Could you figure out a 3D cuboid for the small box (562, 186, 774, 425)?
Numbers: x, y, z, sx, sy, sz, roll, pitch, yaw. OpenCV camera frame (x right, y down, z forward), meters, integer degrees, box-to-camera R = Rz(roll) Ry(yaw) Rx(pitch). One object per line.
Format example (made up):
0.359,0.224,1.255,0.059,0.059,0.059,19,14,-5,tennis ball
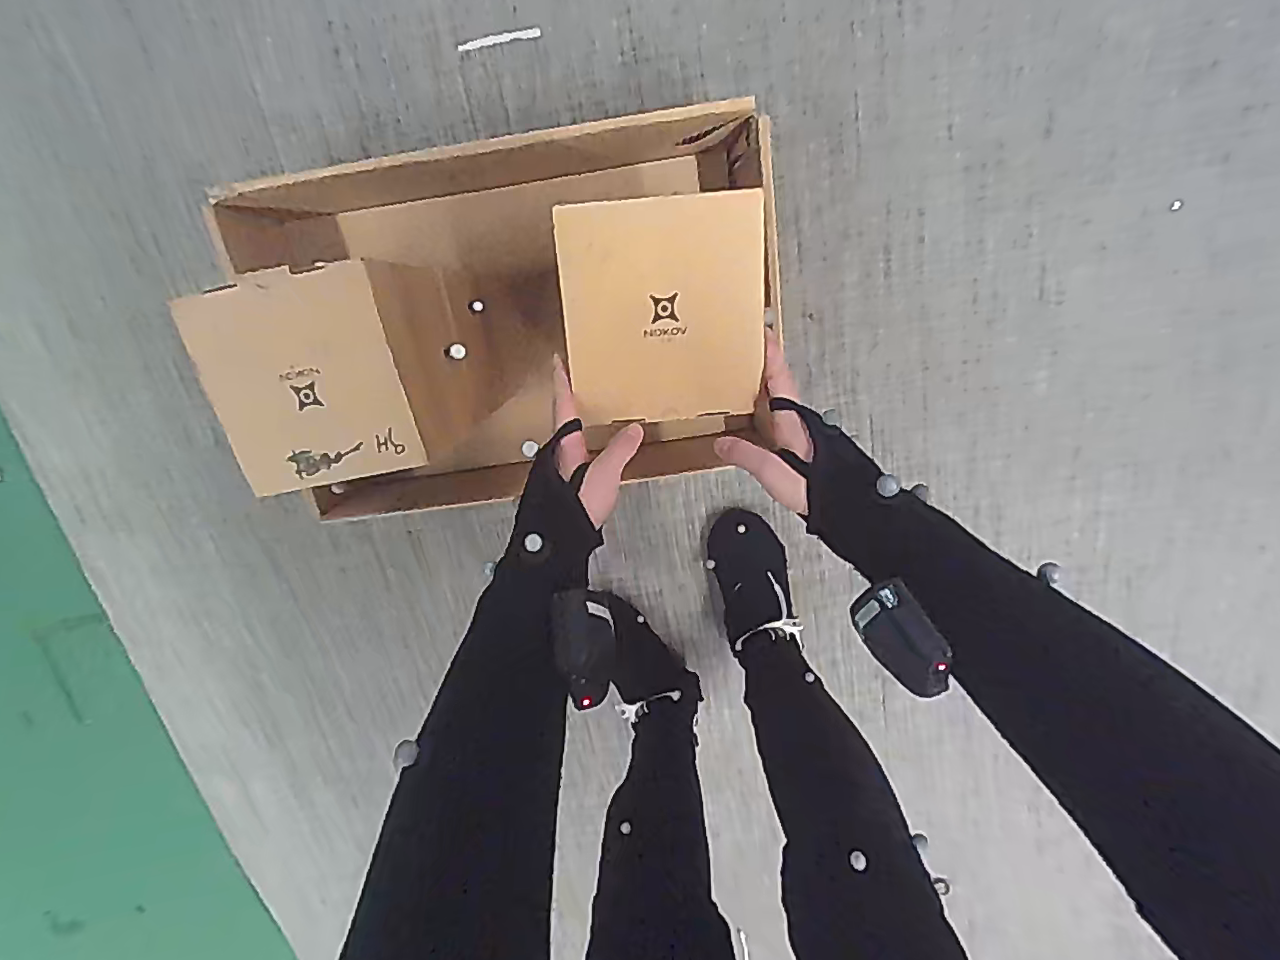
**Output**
0.022,-0.159,0.510,0.168,0.176,0.179,-5,109,0,small box

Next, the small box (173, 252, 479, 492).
-0.275,-0.105,0.522,0.168,0.176,0.179,-10,107,4,small box
